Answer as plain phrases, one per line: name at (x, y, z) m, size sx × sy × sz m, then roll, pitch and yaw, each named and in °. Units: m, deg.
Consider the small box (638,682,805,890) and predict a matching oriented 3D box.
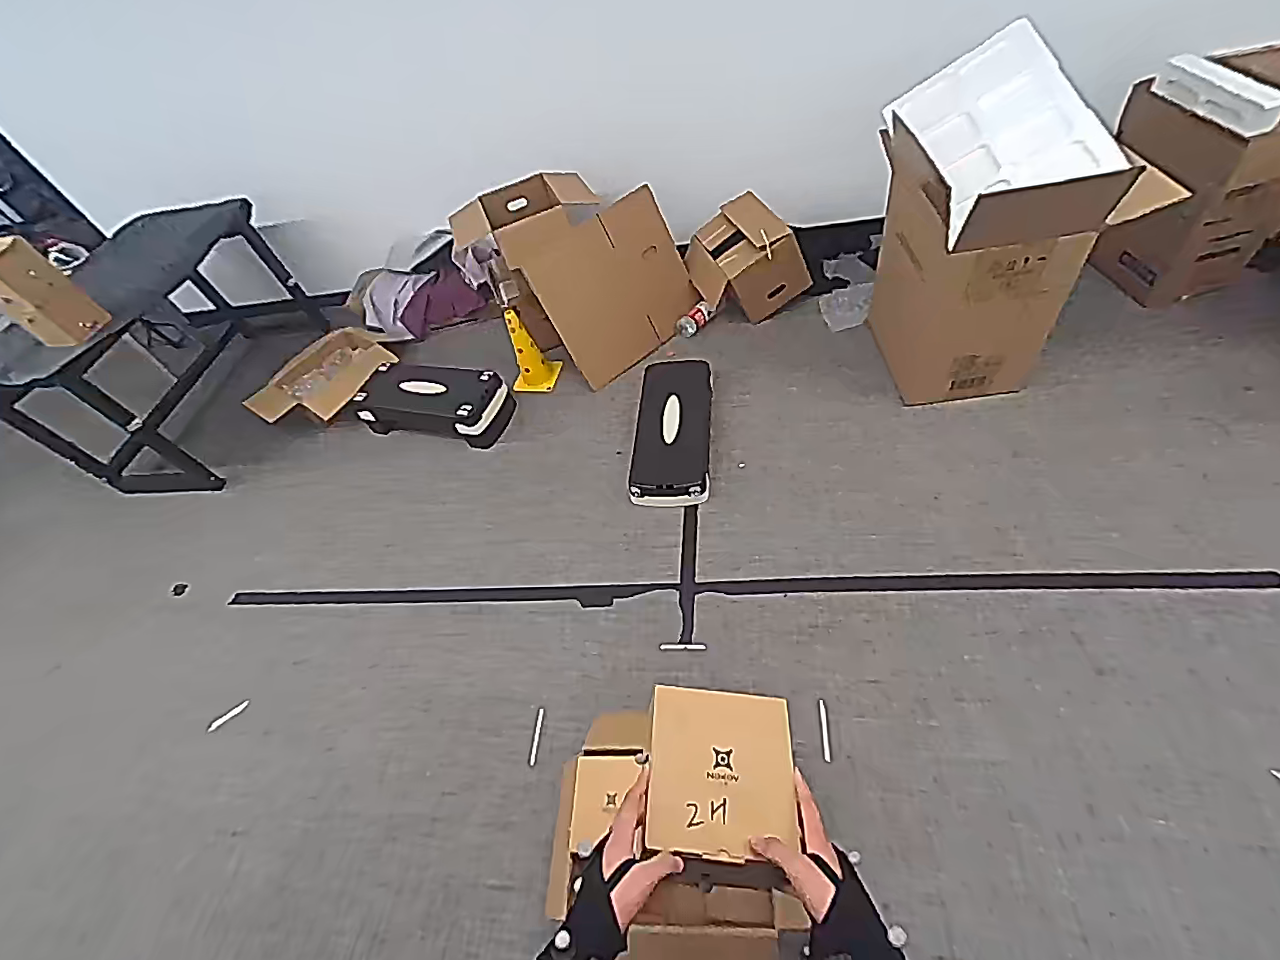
small box at (0.089, 0.374, 0.662) m, size 0.168 × 0.176 × 0.179 m, roll 6°, pitch 47°, yaw 1°
